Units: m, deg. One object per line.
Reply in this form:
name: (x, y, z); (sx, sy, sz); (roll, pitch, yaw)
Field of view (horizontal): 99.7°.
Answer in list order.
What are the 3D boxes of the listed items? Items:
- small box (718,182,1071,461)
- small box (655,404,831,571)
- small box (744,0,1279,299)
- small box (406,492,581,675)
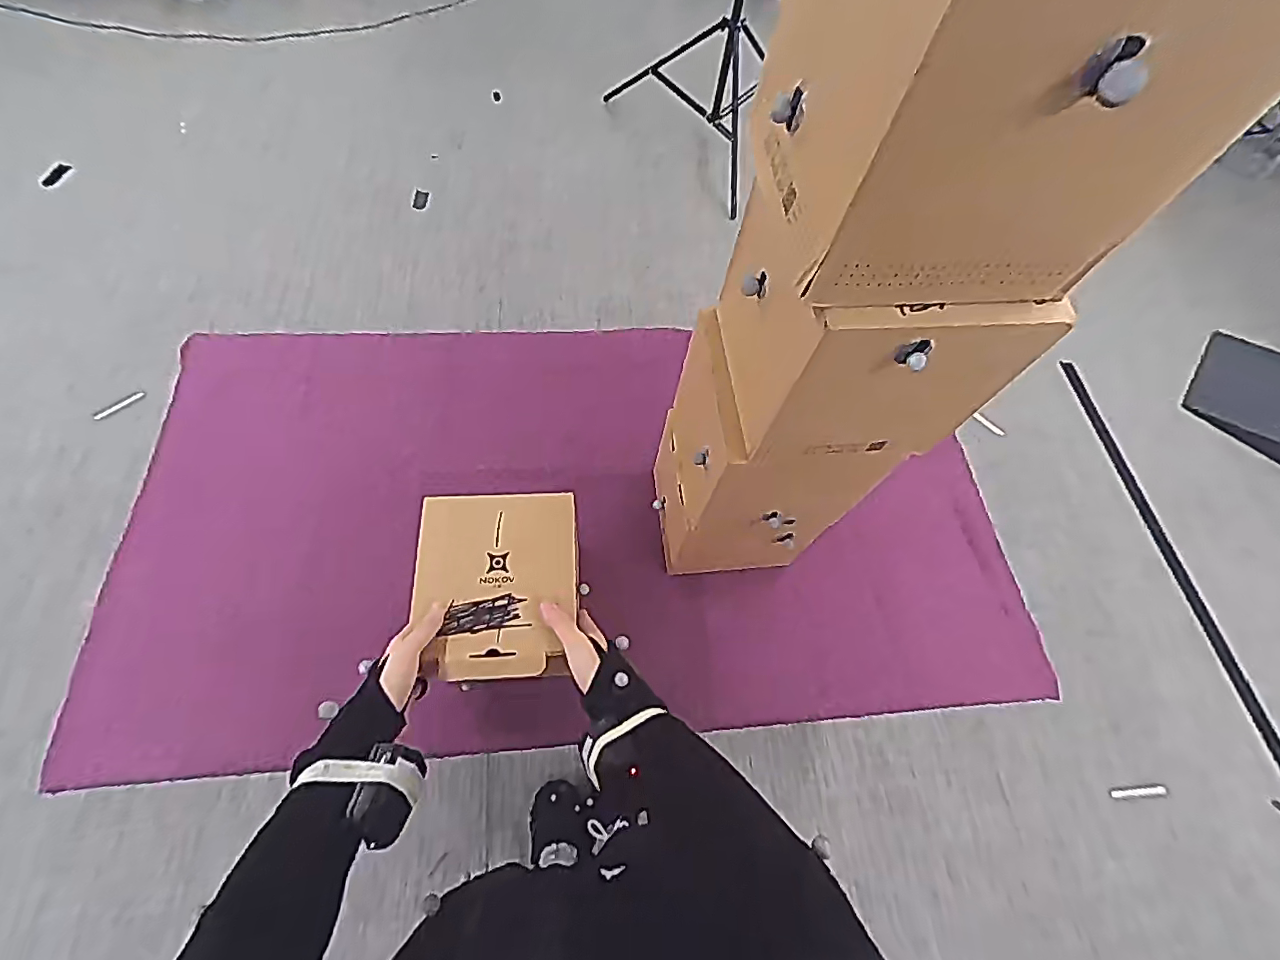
small box: (0.167, -0.133, 0.428); (0.168, 0.176, 0.179); (-4, 64, -7)
small box: (0.122, 0.014, 0.718); (0.179, 0.176, 0.168); (-4, 63, -6)
small box: (0.173, -0.216, 0.288); (0.179, 0.176, 0.168); (-5, 64, -7)
small box: (-0.156, 0.129, 0.635); (0.168, 0.176, 0.179); (-2, 63, -6)
